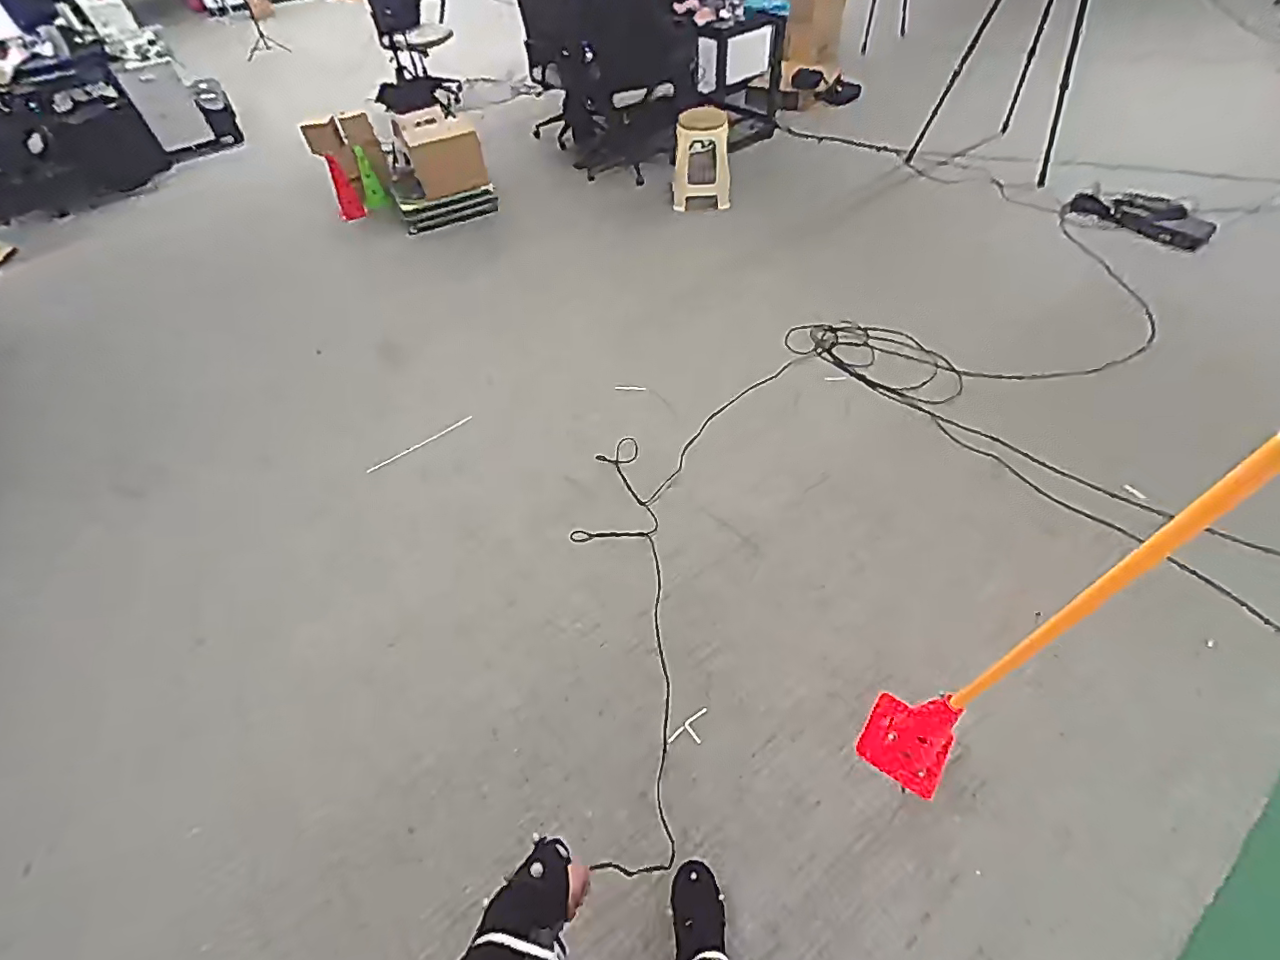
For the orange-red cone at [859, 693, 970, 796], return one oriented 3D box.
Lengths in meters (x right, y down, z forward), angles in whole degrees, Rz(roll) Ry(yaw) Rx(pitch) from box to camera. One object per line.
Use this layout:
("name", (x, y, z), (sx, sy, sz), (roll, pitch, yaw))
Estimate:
("orange-red cone", (0.690, 0.578, 1.283), (0.198, 0.360, 0.199), (30, 58, 25))
